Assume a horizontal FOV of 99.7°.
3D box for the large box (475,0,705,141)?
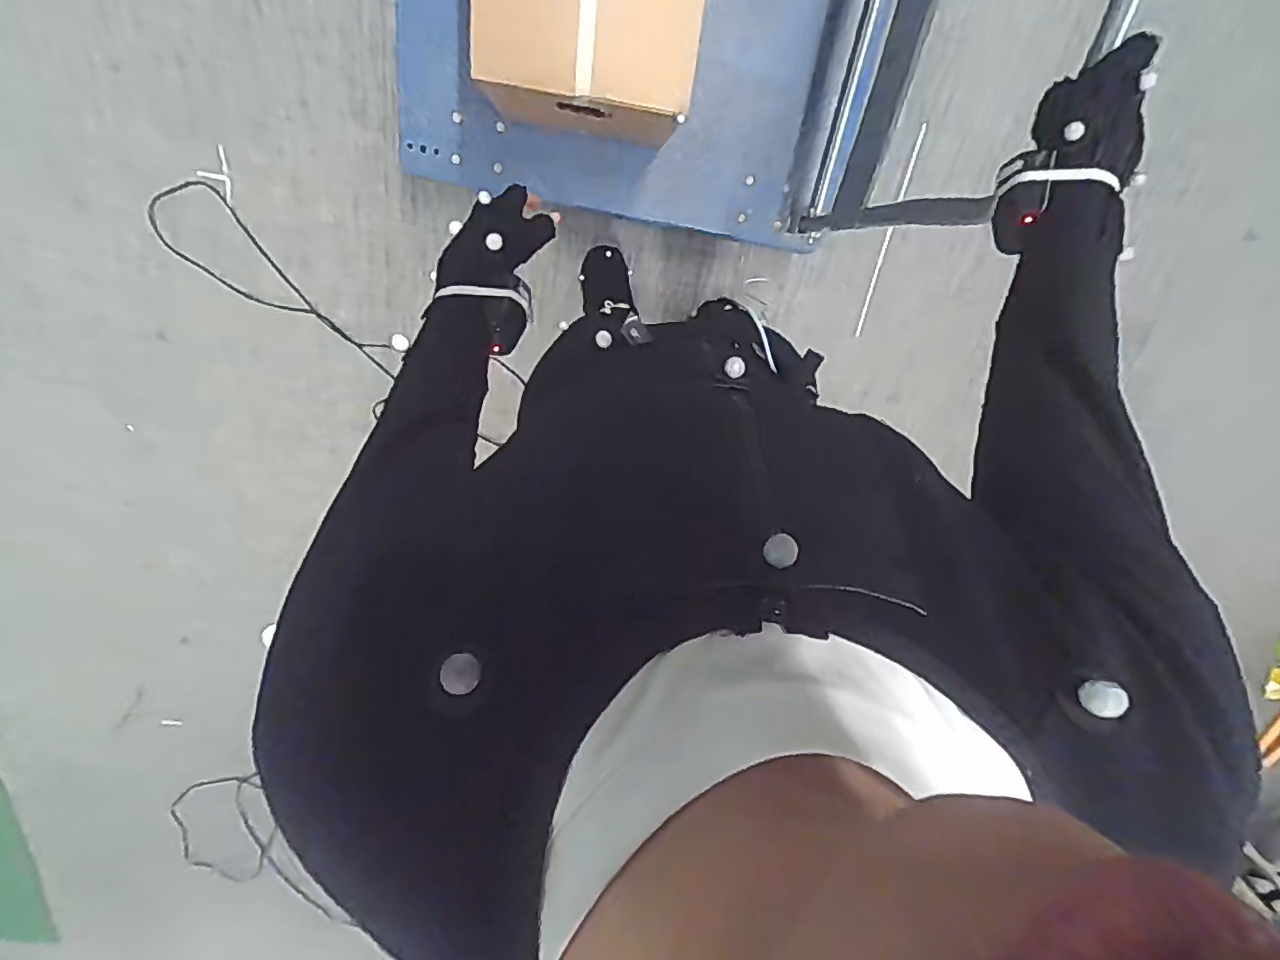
[{"bbox_3d":[-0.066,-0.793,0.828,0.320,0.320,0.408,6,115,-6],"label":"large box"}]
